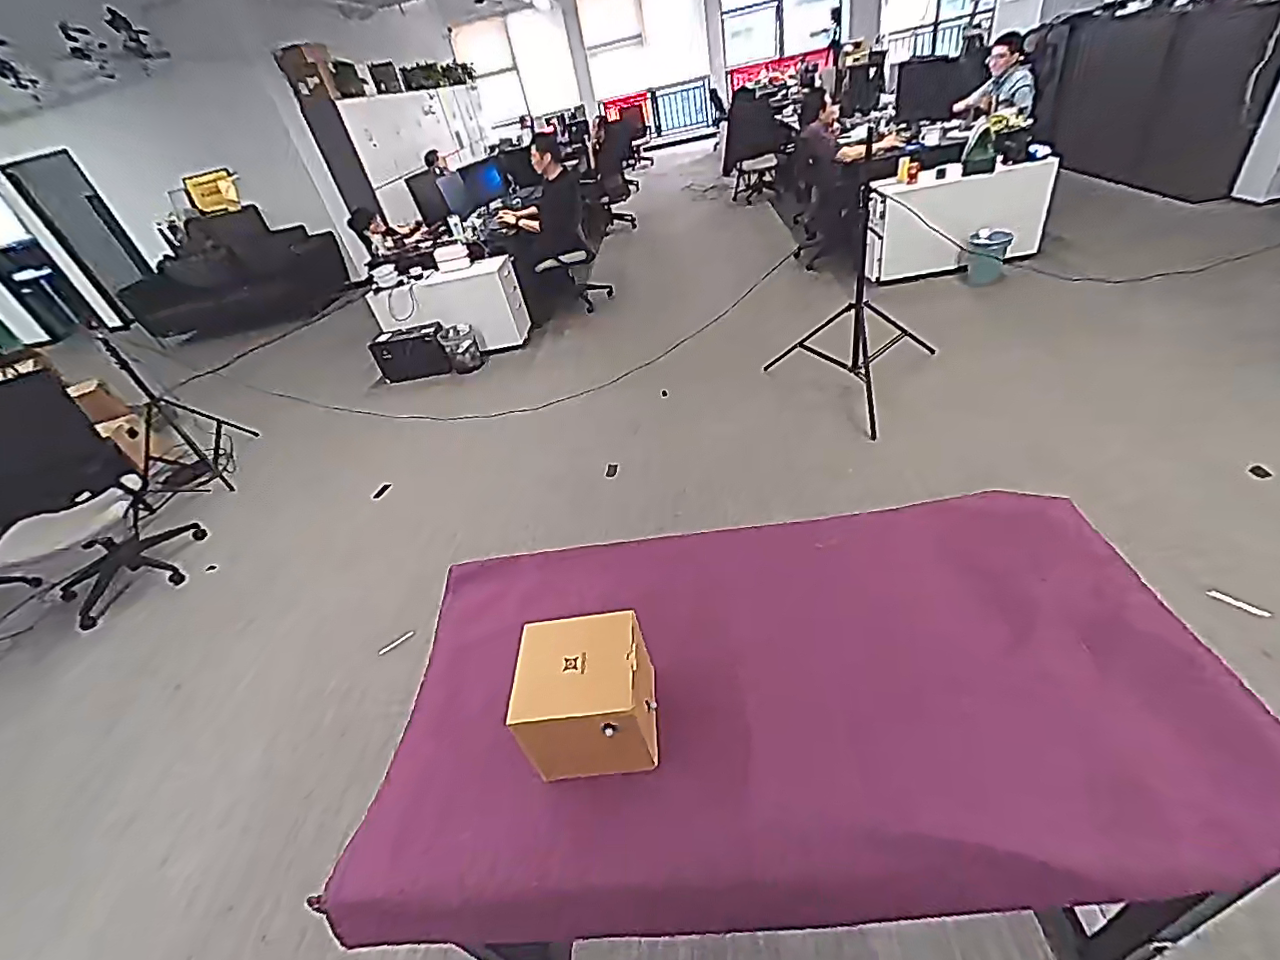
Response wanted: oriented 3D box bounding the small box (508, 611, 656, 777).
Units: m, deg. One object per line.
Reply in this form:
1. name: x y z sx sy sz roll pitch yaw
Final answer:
1. small box: -0.077 0.325 0.816 0.179 0.176 0.168 -9 36 5
